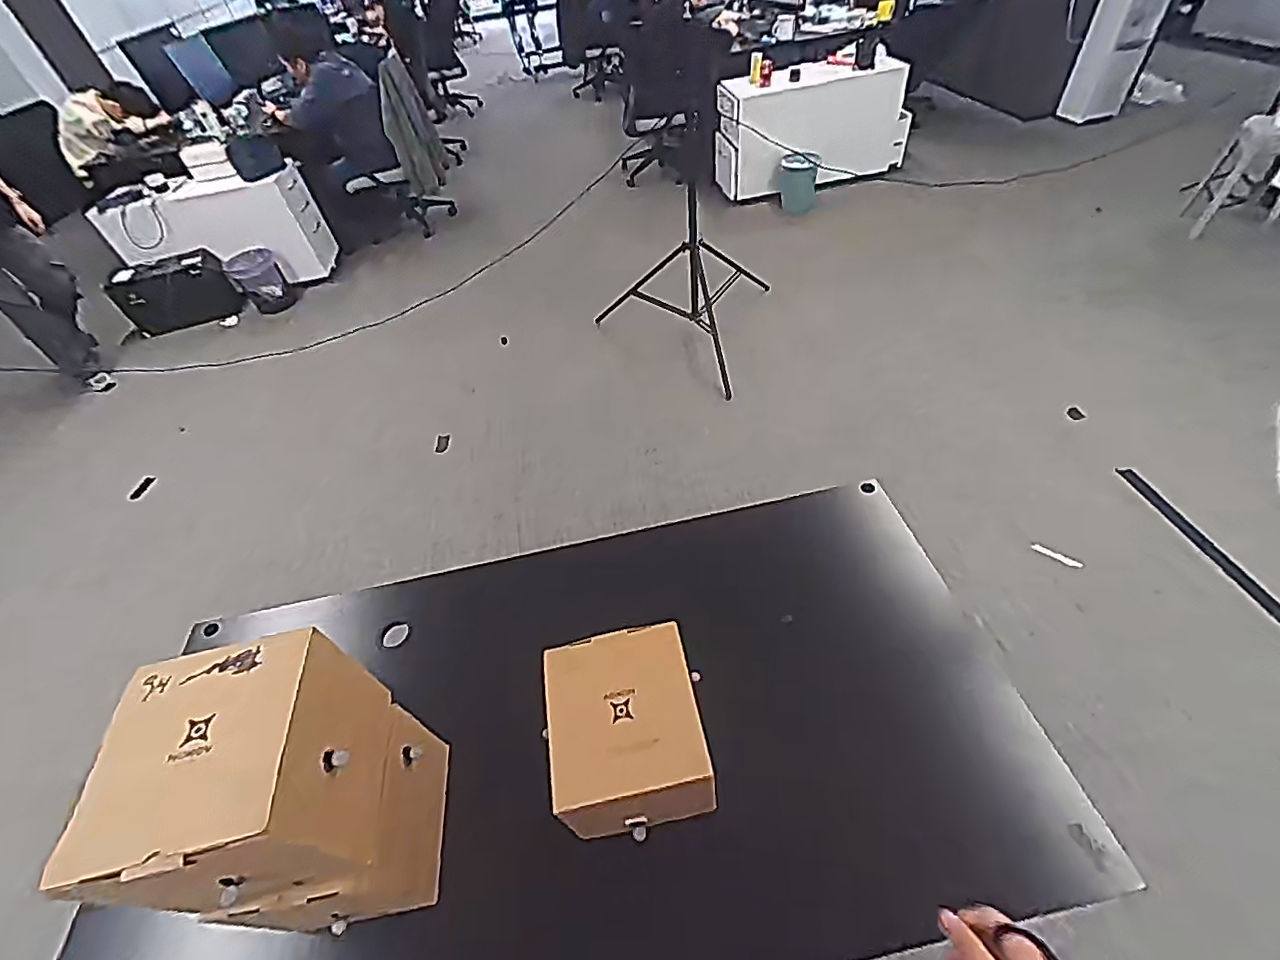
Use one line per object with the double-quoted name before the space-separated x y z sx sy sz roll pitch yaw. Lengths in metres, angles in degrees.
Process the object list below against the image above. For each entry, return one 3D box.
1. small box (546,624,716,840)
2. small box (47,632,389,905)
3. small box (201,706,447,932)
"small box" -0.010 0.305 0.653 0.168 0.176 0.179 -13 48 -2
"small box" -0.357 0.274 0.507 0.168 0.176 0.179 -13 48 -4
"small box" -0.335 0.390 0.622 0.168 0.176 0.179 -11 48 -1
